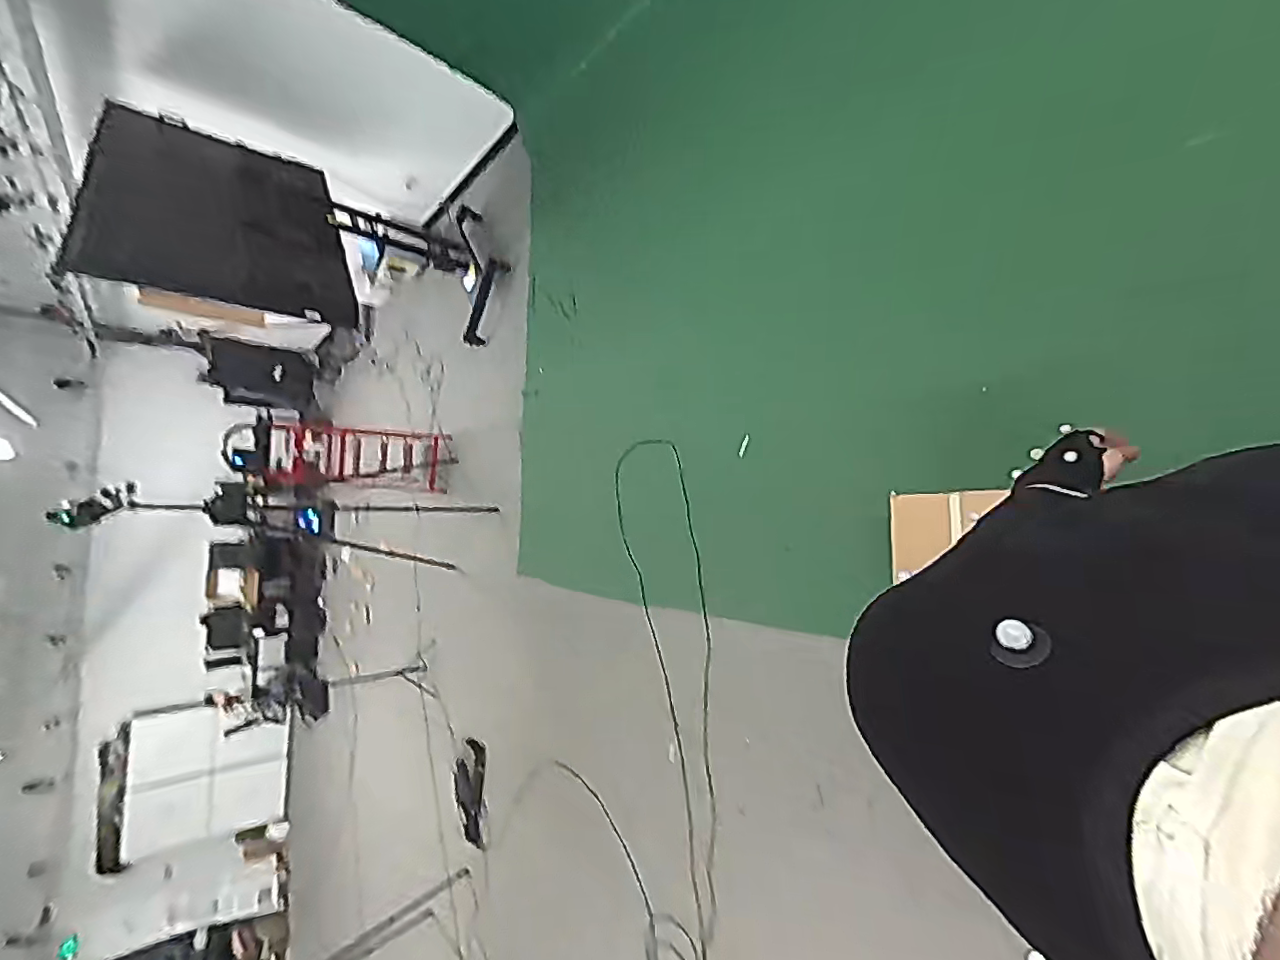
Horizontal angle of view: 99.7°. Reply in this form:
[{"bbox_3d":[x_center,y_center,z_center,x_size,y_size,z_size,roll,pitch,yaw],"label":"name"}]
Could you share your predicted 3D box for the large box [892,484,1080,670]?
[{"bbox_3d":[0.868,0.230,1.364,0.320,0.320,0.408,-7,81,48],"label":"large box"}]
